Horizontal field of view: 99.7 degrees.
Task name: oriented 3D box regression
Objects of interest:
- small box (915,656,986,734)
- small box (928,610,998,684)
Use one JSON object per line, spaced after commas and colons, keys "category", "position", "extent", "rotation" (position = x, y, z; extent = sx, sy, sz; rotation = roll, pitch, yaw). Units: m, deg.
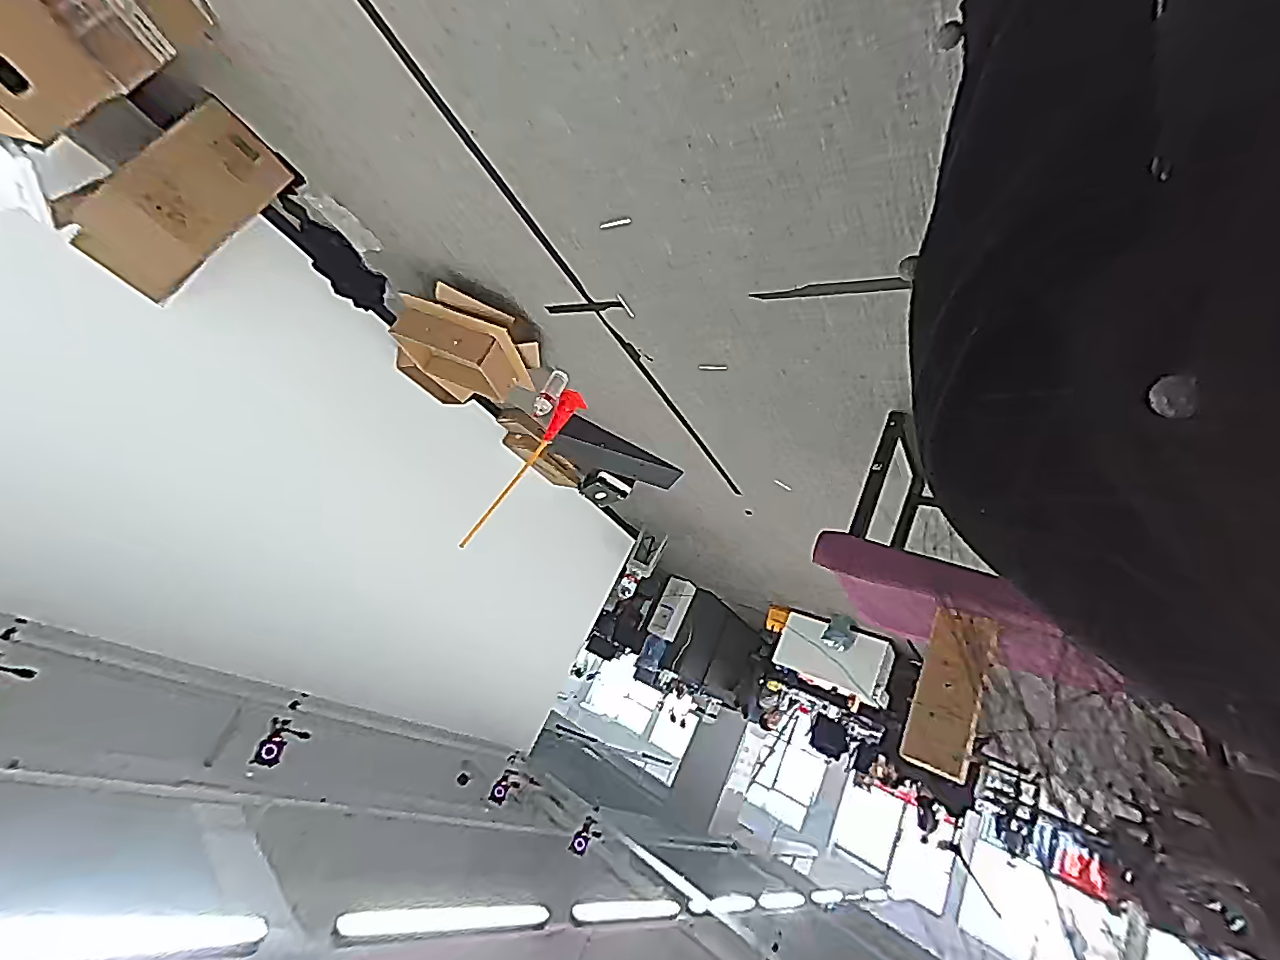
{"category": "small box", "position": [1.006, 0.690, 1.746], "extent": [0.168, 0.176, 0.179], "rotation": [11, 156, 39]}
{"category": "small box", "position": [1.075, 0.549, 1.794], "extent": [0.168, 0.176, 0.179], "rotation": [11, 156, 40]}
